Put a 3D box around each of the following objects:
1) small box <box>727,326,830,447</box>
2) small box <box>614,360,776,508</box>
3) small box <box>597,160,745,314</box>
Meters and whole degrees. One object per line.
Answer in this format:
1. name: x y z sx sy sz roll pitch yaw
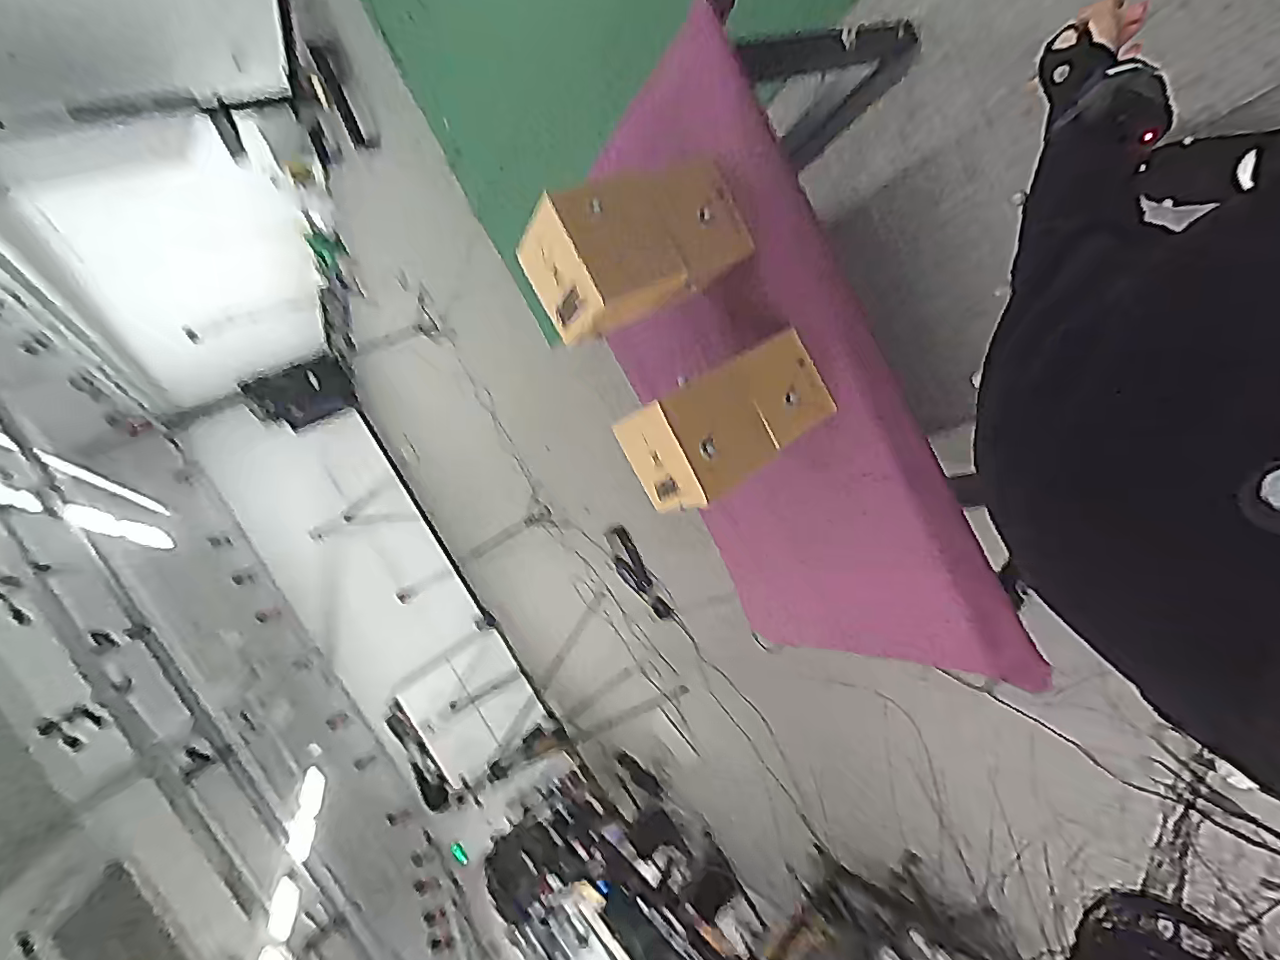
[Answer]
1. small box: 0.215 -0.152 0.981 0.168 0.176 0.179 59 153 -4
2. small box: 0.093 -0.073 0.903 0.179 0.176 0.168 62 152 -7
3. small box: 0.060 -0.424 0.948 0.168 0.176 0.179 61 152 -7
